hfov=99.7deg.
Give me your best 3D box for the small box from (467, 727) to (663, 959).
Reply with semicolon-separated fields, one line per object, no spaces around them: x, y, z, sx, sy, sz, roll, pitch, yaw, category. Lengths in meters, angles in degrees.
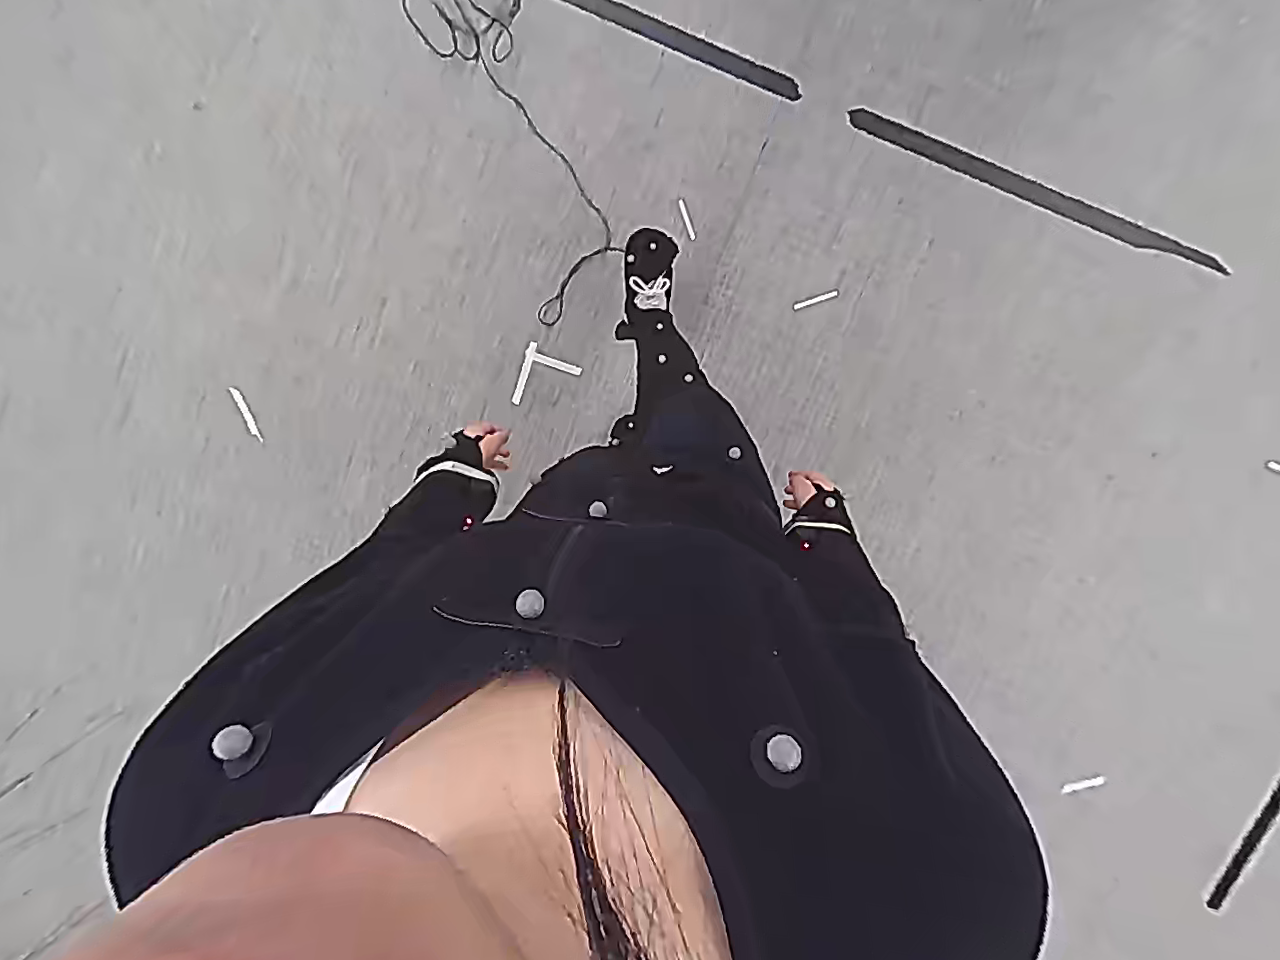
-0.081;0.444;0.662;0.168;0.176;0.179;24;99;-1;small box
